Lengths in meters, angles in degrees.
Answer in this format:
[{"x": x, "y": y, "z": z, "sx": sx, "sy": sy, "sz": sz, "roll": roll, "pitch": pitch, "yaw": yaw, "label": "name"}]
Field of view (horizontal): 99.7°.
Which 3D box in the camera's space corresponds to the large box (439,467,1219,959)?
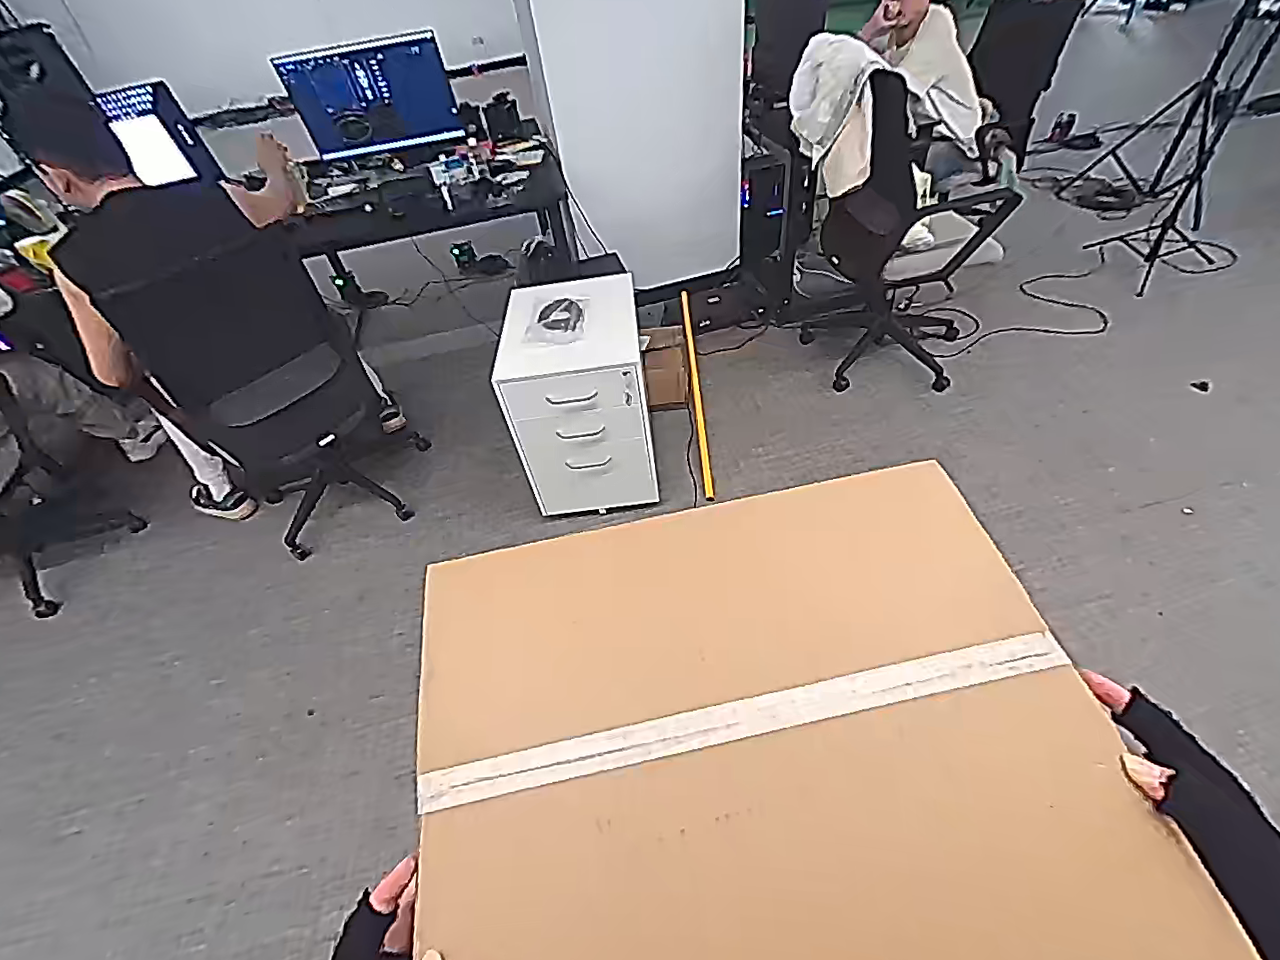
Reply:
[{"x": 0.081, "y": 0.237, "z": 0.467, "sx": 0.408, "sy": 0.320, "sz": 0.320, "roll": -12, "pitch": 56, "yaw": -2, "label": "large box"}]
